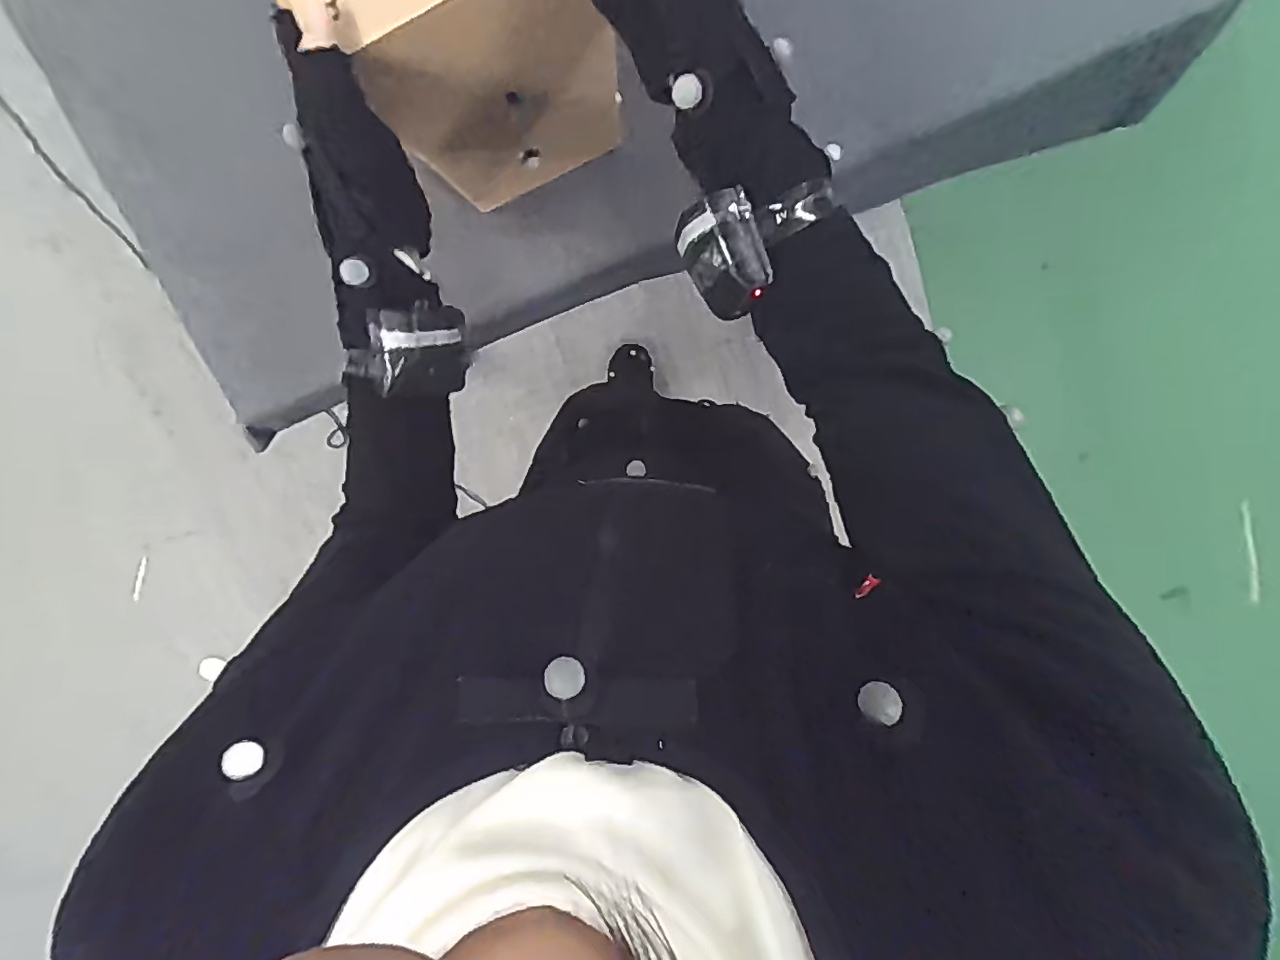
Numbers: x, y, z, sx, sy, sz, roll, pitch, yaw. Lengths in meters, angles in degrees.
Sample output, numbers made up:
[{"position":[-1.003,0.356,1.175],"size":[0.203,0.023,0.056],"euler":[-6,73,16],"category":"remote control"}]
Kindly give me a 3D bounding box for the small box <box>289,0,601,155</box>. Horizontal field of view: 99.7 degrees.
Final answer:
[{"position":[-0.132,-0.353,0.354],"size":[0.179,0.176,0.168],"euler":[-22,104,3],"category":"small box"}]

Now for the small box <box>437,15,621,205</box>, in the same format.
[{"position":[-0.131,-0.398,0.515],"size":[0.179,0.176,0.168],"euler":[-27,103,5],"category":"small box"}]
